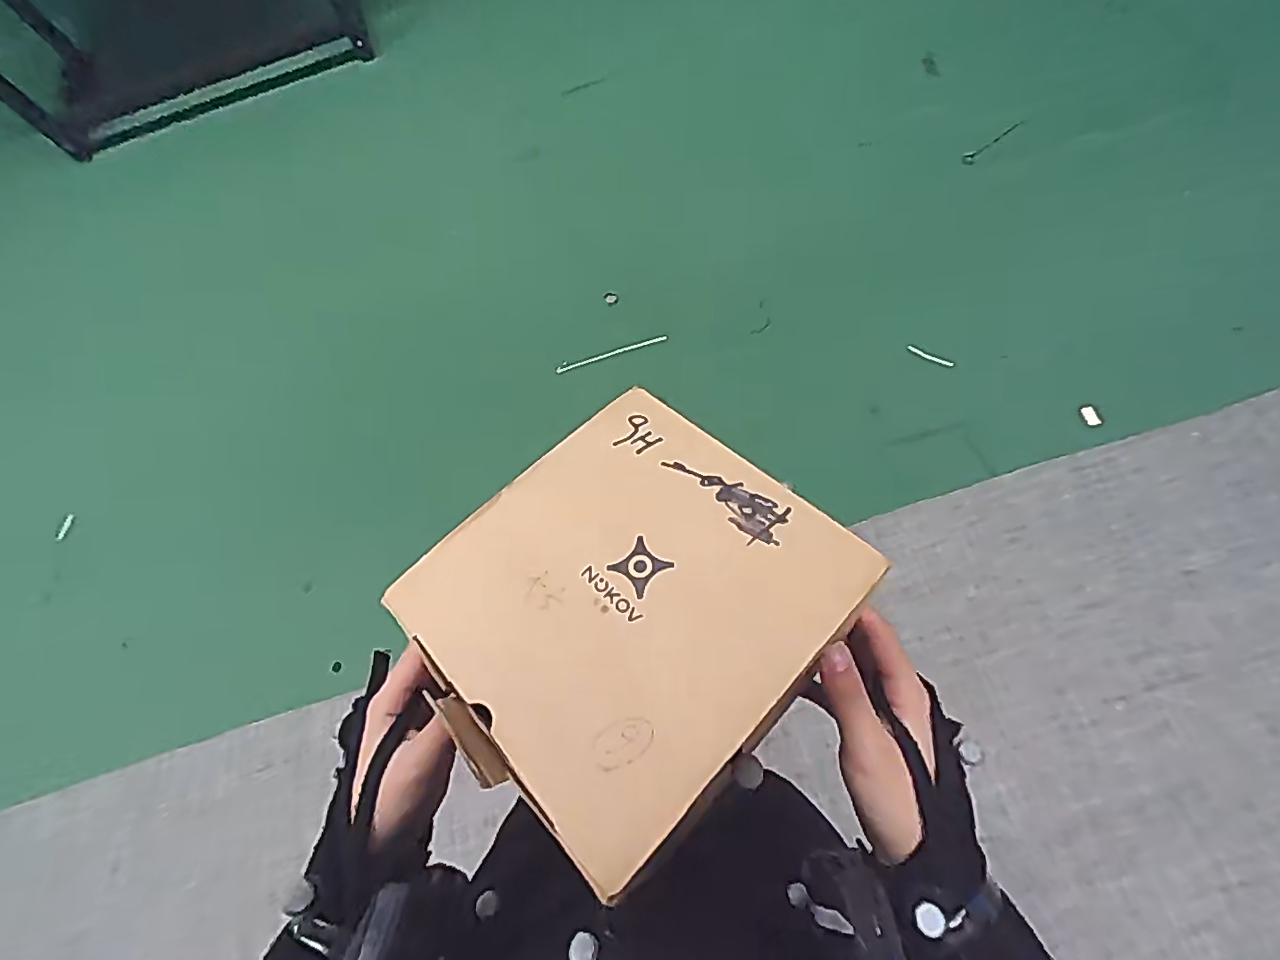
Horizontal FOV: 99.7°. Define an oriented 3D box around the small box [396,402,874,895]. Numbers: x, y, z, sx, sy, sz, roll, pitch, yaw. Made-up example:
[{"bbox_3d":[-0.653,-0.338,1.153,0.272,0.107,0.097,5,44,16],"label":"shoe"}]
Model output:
[{"bbox_3d":[0.004,0.095,0.323,0.179,0.176,0.168,-42,62,-18],"label":"small box"}]
